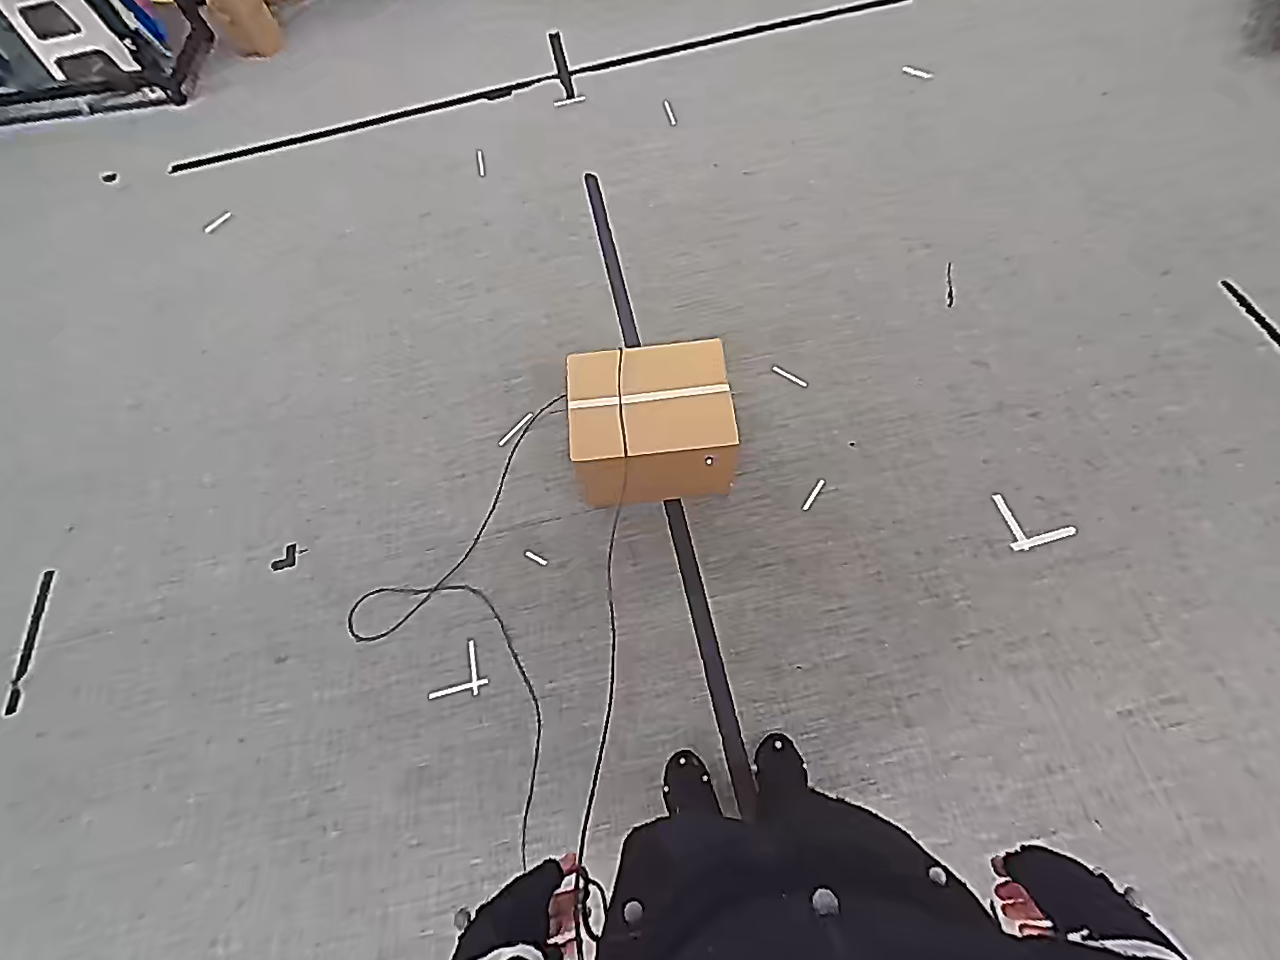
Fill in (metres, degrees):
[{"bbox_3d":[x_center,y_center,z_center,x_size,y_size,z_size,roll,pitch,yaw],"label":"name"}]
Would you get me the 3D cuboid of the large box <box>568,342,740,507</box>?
[{"bbox_3d":[0.037,-0.136,1.470,0.408,0.320,0.320,-6,66,2],"label":"large box"}]
